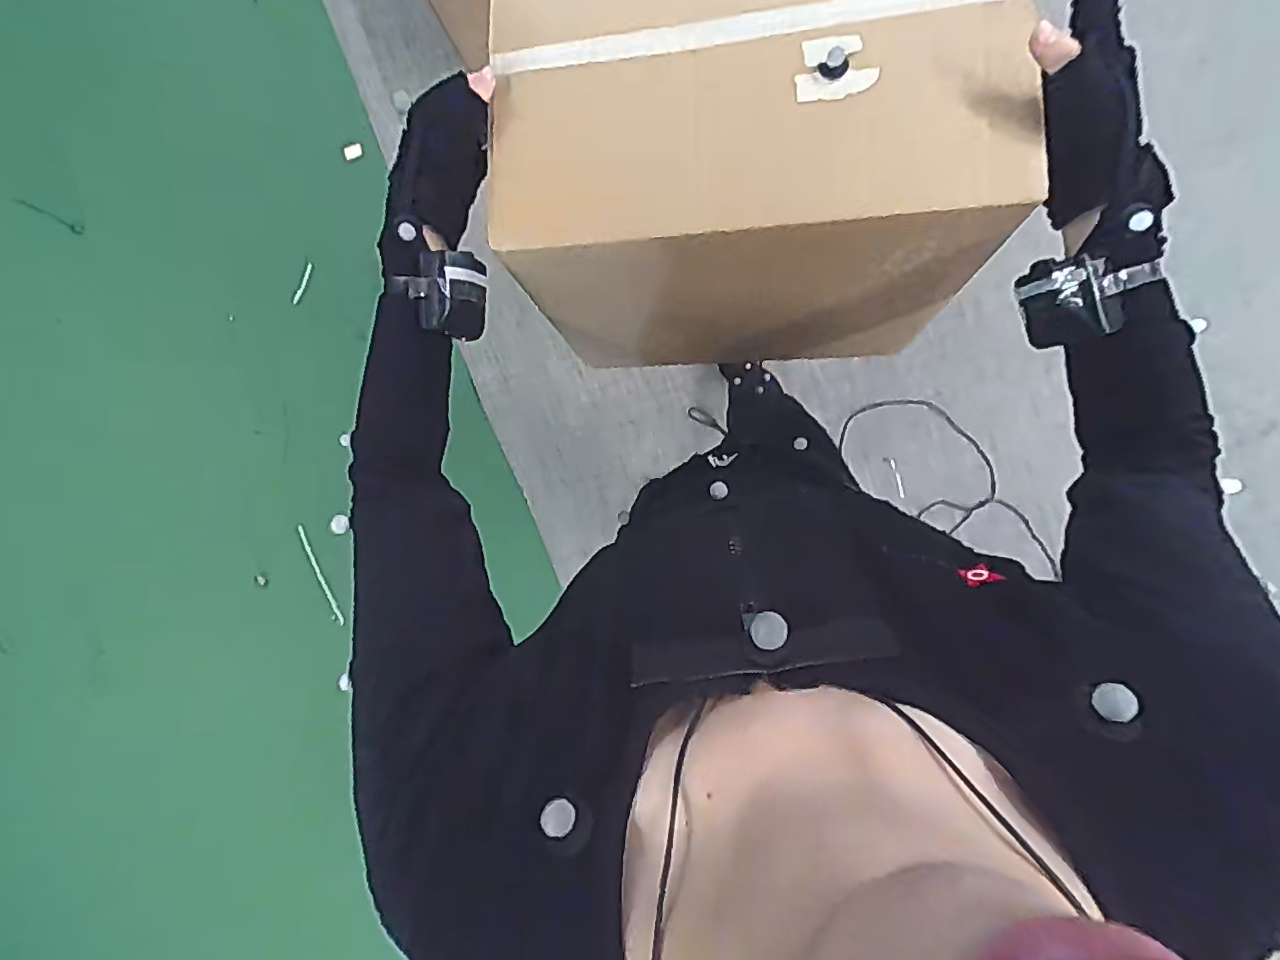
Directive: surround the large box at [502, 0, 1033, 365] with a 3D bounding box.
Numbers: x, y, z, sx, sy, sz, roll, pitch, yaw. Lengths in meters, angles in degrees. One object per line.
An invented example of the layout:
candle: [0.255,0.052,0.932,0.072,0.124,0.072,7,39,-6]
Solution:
large box: [0.100,-0.329,0.575,0.408,0.320,0.320,-1,83,7]
